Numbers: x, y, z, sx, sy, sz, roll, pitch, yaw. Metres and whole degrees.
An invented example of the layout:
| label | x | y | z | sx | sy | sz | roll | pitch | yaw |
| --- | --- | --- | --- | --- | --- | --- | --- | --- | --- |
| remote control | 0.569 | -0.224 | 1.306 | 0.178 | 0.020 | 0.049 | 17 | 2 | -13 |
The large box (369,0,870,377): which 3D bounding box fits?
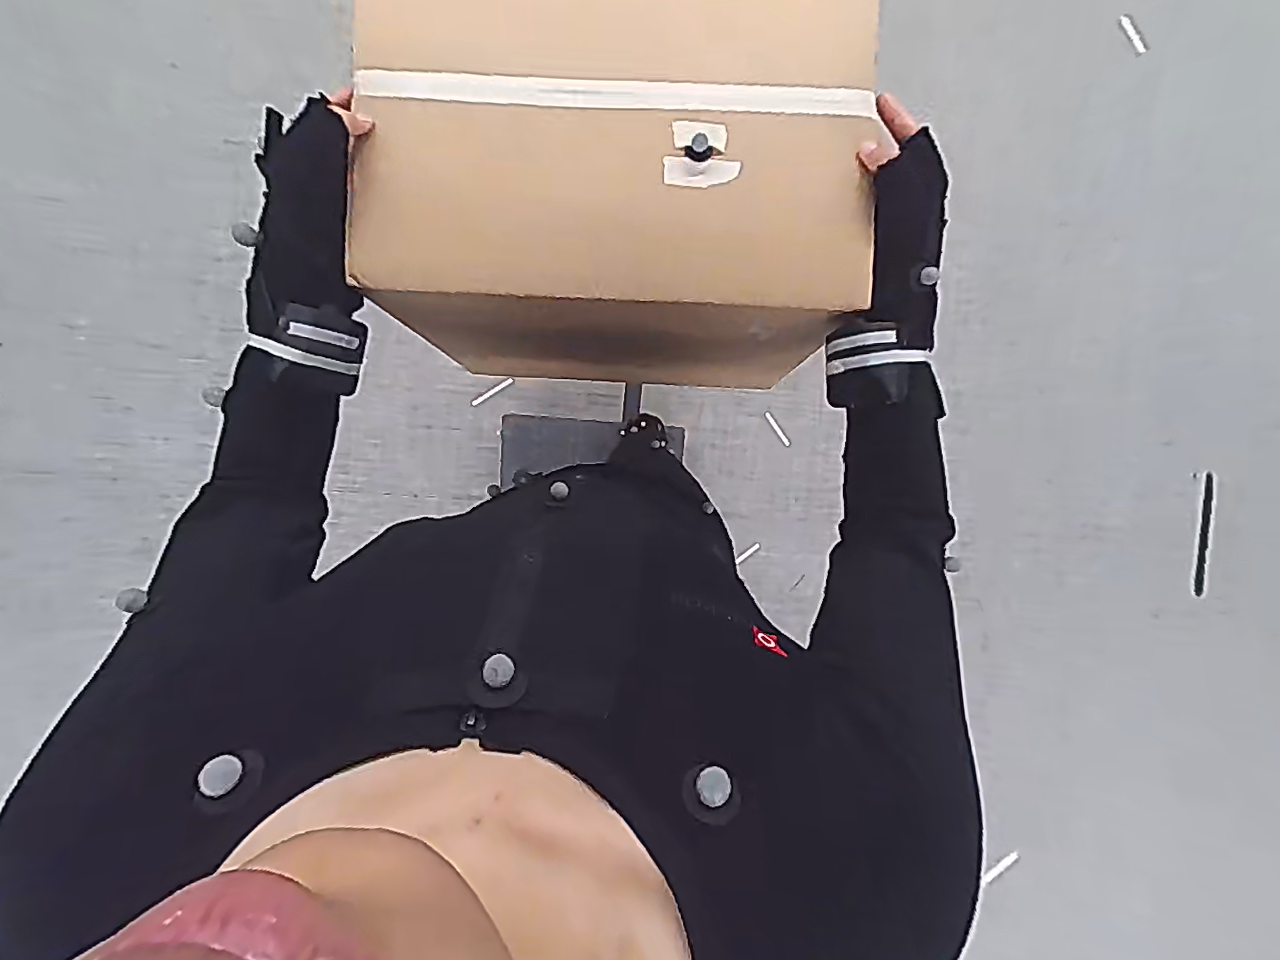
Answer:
| label | x | y | z | sx | sy | sz | roll | pitch | yaw |
| --- | --- | --- | --- | --- | --- | --- | --- | --- | --- |
| large box | -0.017 | -0.299 | 0.583 | 0.408 | 0.320 | 0.320 | 2 | 89 | -1 |
